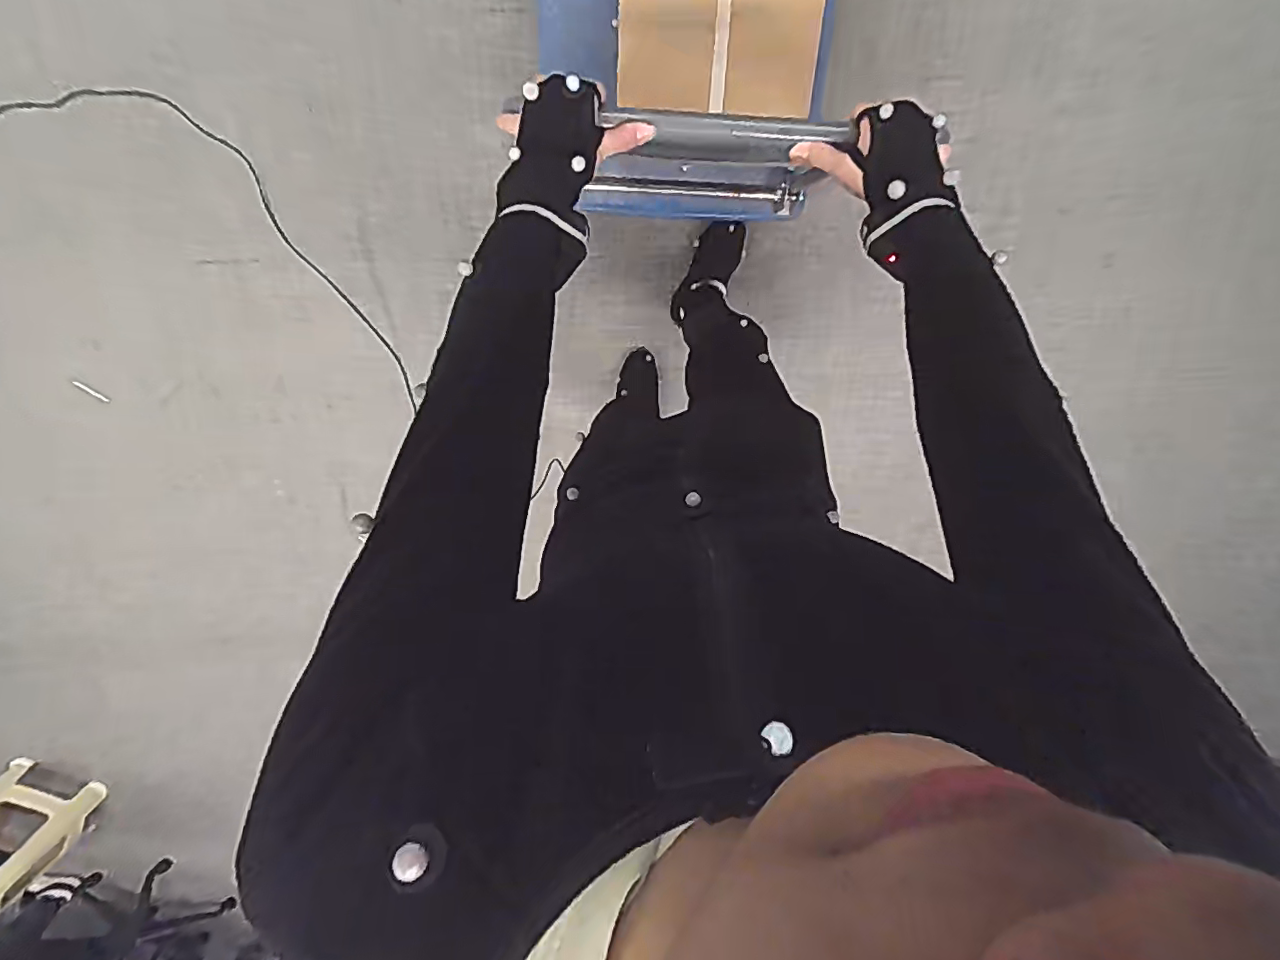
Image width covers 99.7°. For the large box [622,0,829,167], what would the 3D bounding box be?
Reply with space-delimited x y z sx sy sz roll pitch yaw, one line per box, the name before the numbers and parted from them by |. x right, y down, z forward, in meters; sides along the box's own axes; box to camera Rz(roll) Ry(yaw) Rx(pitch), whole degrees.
large box | 0.131 -0.792 0.938 0.320 0.320 0.408 1 113 -2
